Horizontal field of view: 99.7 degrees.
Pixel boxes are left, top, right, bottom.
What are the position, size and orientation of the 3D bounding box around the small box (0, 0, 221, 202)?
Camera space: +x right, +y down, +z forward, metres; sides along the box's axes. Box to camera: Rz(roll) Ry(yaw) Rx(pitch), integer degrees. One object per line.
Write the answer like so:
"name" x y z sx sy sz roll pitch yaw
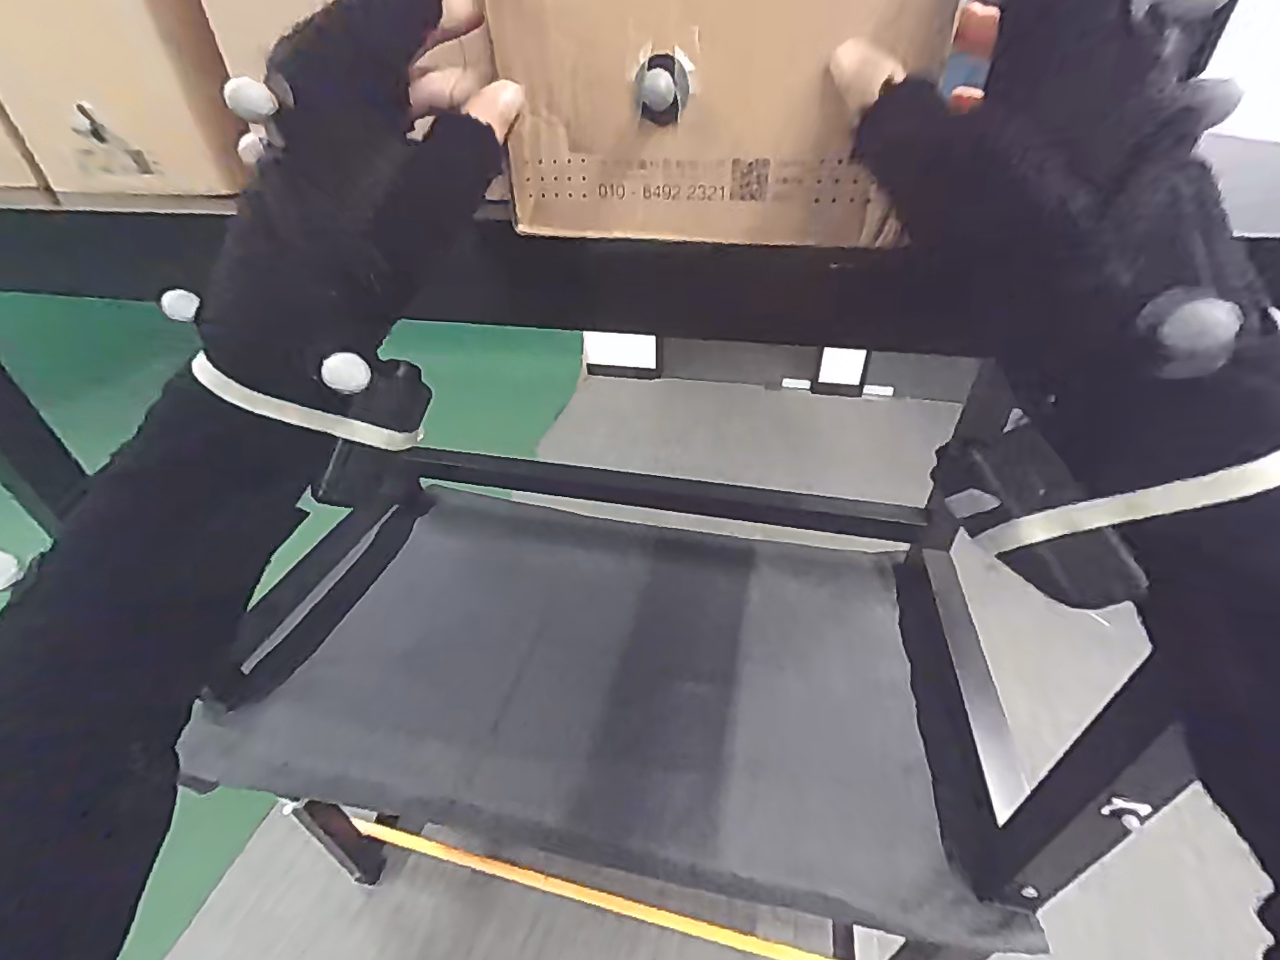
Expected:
"small box" -0.520 -0.342 0.460 0.168 0.176 0.179 8 37 11
